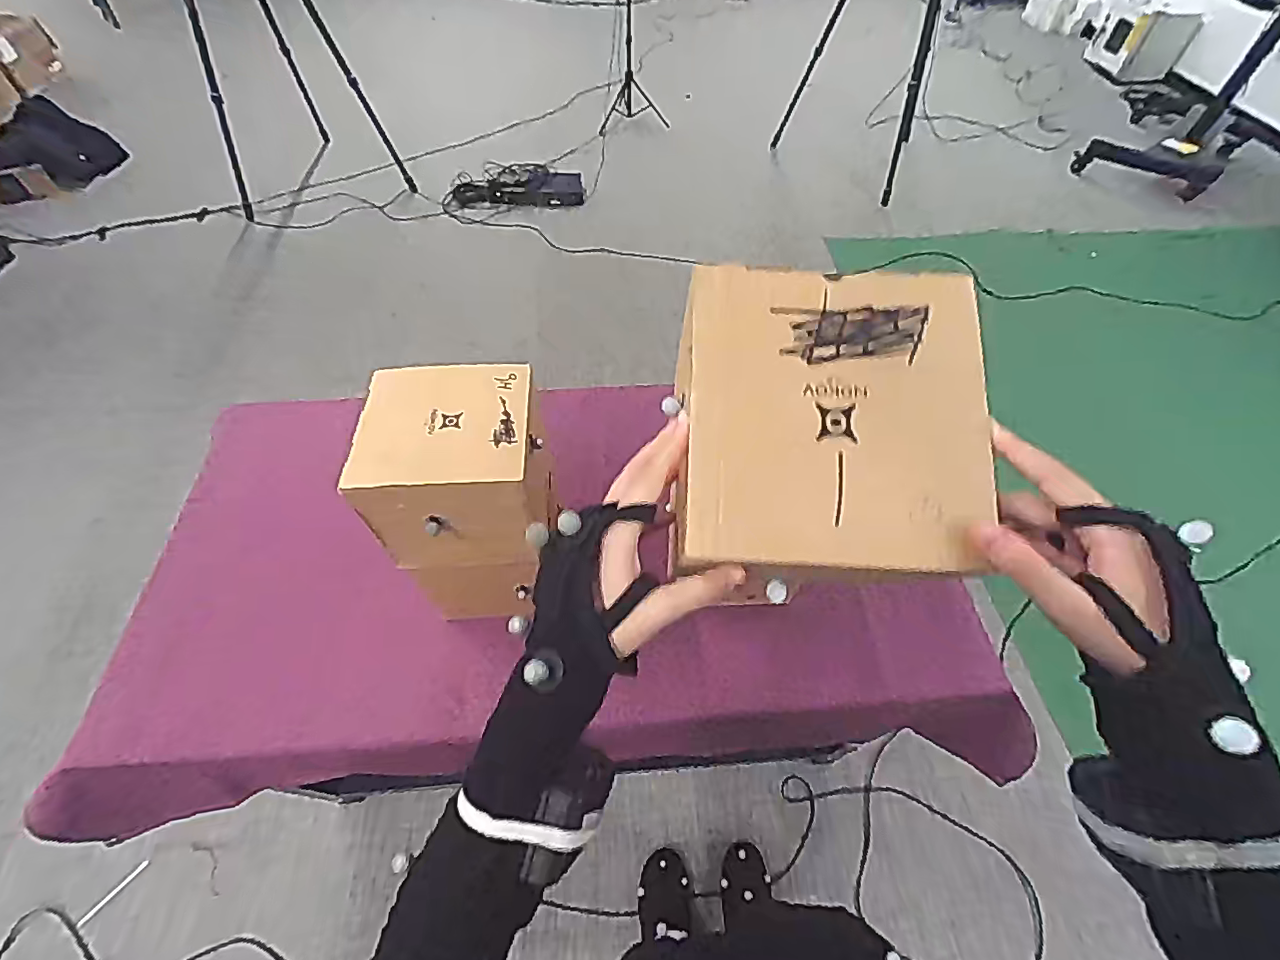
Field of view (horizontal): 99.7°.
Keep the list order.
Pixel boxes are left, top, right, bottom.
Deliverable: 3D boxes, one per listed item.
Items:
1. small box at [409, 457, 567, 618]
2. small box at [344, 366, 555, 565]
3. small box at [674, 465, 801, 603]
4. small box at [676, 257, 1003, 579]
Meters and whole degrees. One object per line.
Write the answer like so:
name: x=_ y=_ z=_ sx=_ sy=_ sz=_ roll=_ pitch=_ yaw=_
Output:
small box: x=-0.196 y=0.083 z=0.760 sx=0.179 sy=0.176 sz=0.168 roll=-3 pitch=53 yaw=-2
small box: x=-0.199 y=-0.012 z=0.625 sx=0.179 sy=0.176 sz=0.168 roll=-2 pitch=53 yaw=-2
small box: x=0.139 y=0.068 z=0.774 sx=0.168 sy=0.176 sz=0.179 roll=-2 pitch=53 yaw=-2
small box: x=0.112 y=-0.028 z=0.382 sx=0.168 sy=0.176 sz=0.179 roll=2 pitch=76 yaw=2
